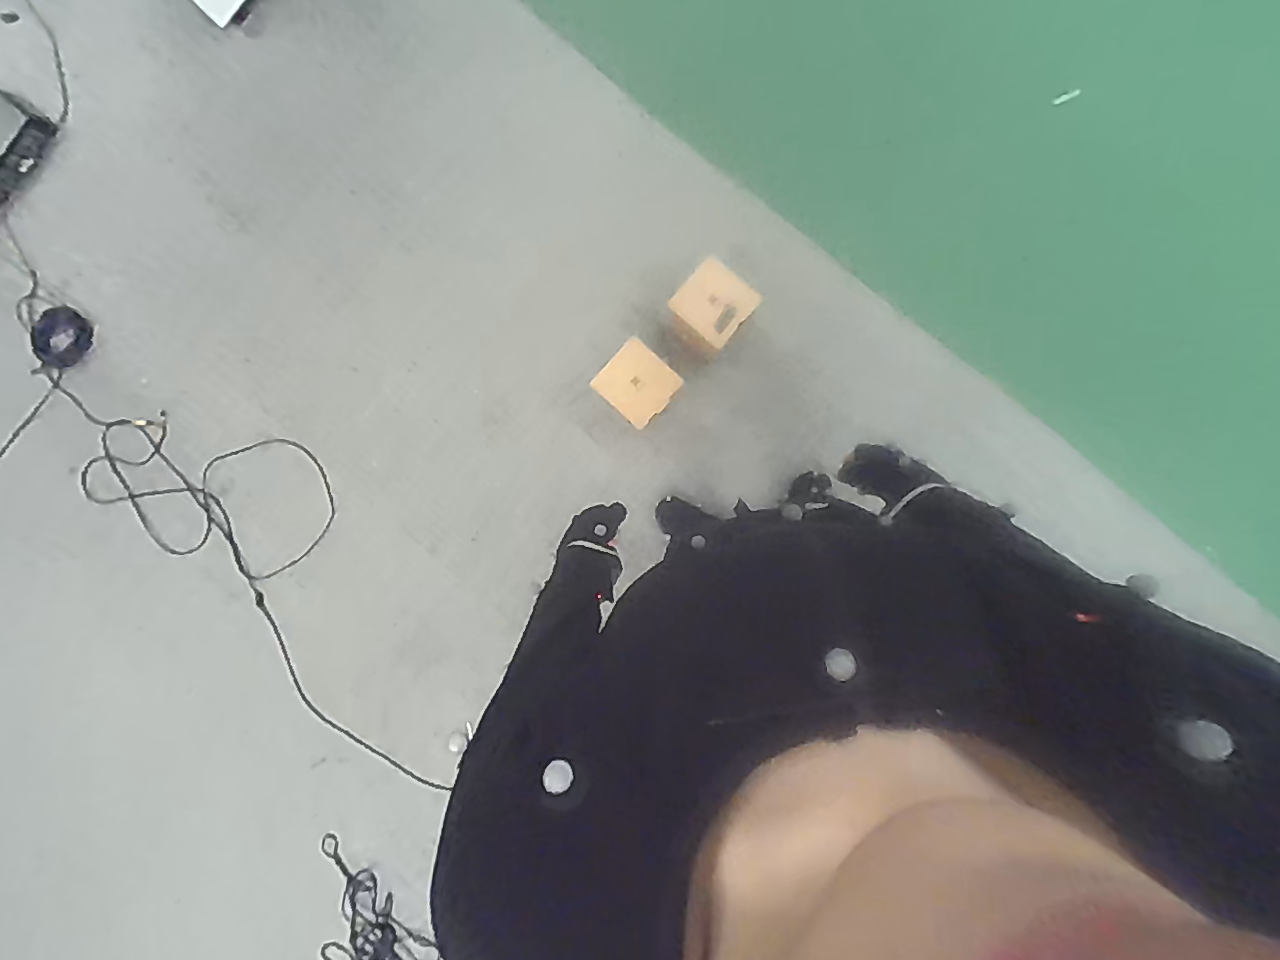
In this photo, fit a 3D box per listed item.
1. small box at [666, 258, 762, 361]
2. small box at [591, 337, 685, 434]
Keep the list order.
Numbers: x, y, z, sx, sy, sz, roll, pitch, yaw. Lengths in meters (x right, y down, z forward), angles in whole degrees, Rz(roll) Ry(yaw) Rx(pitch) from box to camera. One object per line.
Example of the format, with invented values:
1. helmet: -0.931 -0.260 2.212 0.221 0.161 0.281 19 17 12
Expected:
1. small box: 0.185 -0.426 1.390 0.179 0.176 0.168 42 92 3
2. small box: -0.003 -0.234 1.401 0.179 0.176 0.168 42 92 2
